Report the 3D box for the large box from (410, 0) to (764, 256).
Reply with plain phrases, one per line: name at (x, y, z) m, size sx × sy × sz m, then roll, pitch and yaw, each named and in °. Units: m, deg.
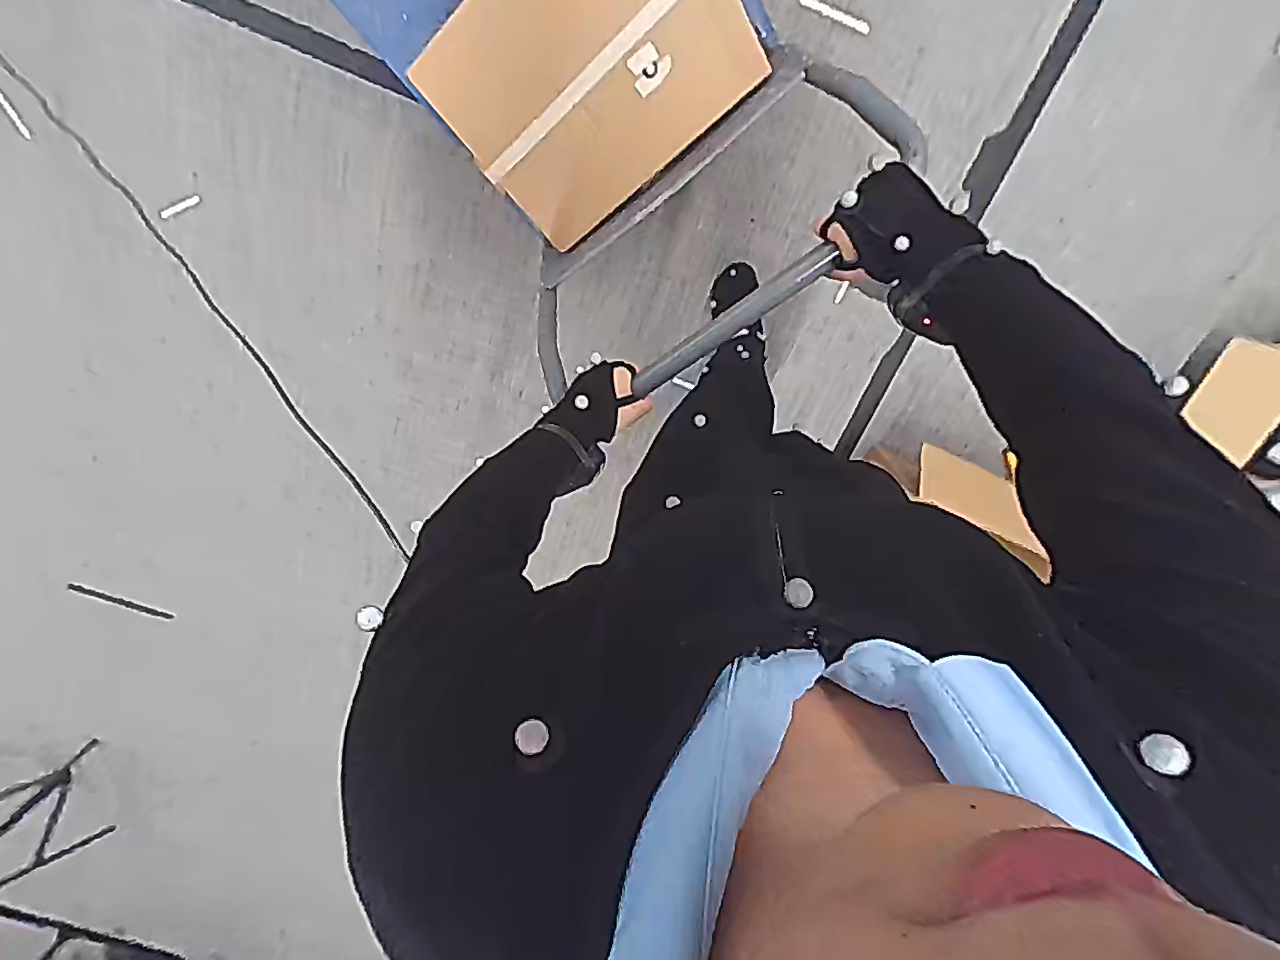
large box at (-0.082, -0.650, 0.857) m, size 0.408 × 0.320 × 0.320 m, roll -33°, pitch 126°, yaw 21°
